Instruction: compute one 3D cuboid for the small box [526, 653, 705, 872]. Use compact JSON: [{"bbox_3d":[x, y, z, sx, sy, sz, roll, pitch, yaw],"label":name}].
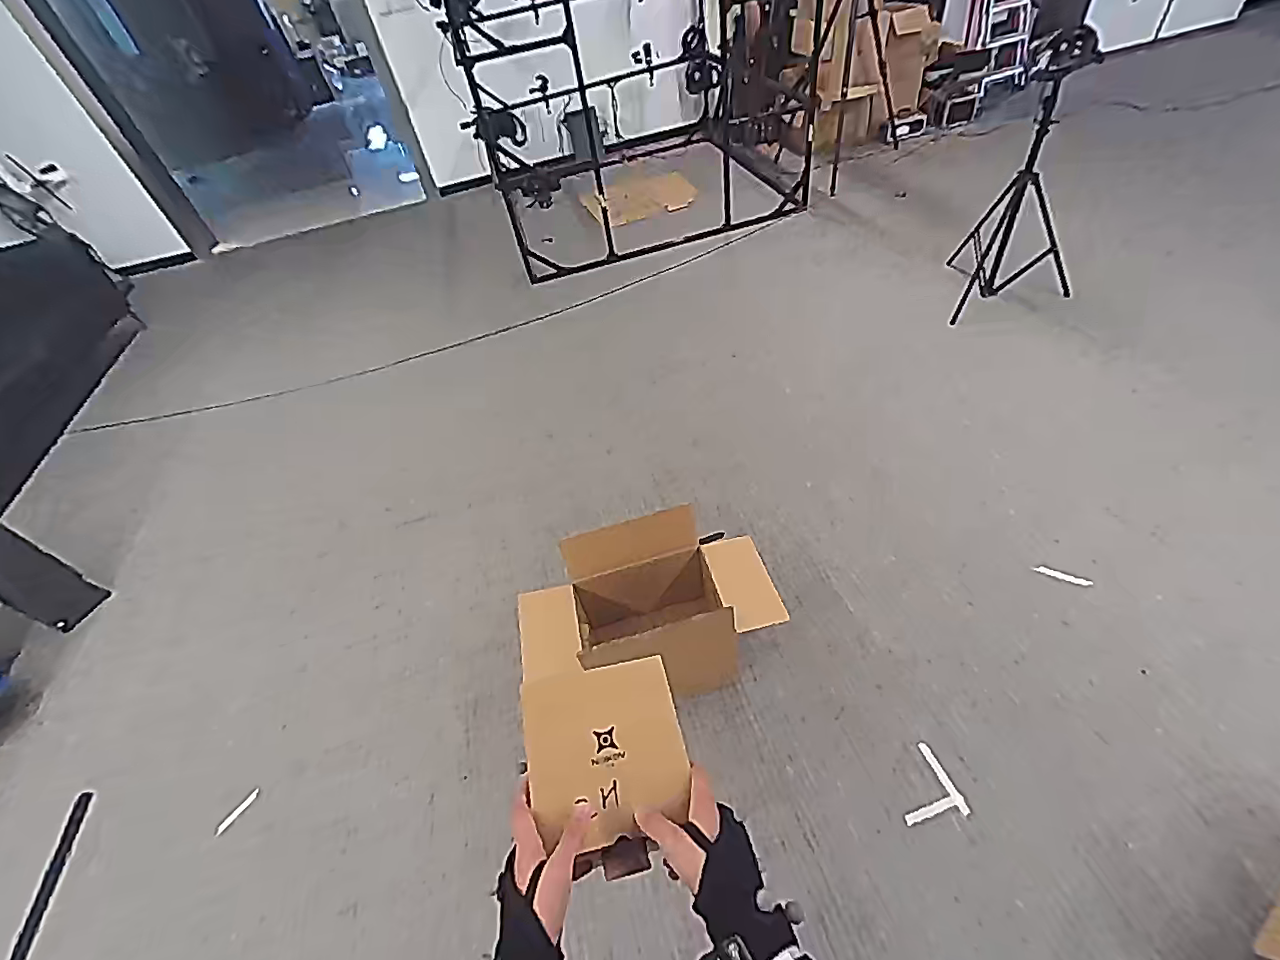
[{"bbox_3d":[-0.037,0.329,0.629,0.168,0.176,0.179,-8,52,-10],"label":"small box"}]
